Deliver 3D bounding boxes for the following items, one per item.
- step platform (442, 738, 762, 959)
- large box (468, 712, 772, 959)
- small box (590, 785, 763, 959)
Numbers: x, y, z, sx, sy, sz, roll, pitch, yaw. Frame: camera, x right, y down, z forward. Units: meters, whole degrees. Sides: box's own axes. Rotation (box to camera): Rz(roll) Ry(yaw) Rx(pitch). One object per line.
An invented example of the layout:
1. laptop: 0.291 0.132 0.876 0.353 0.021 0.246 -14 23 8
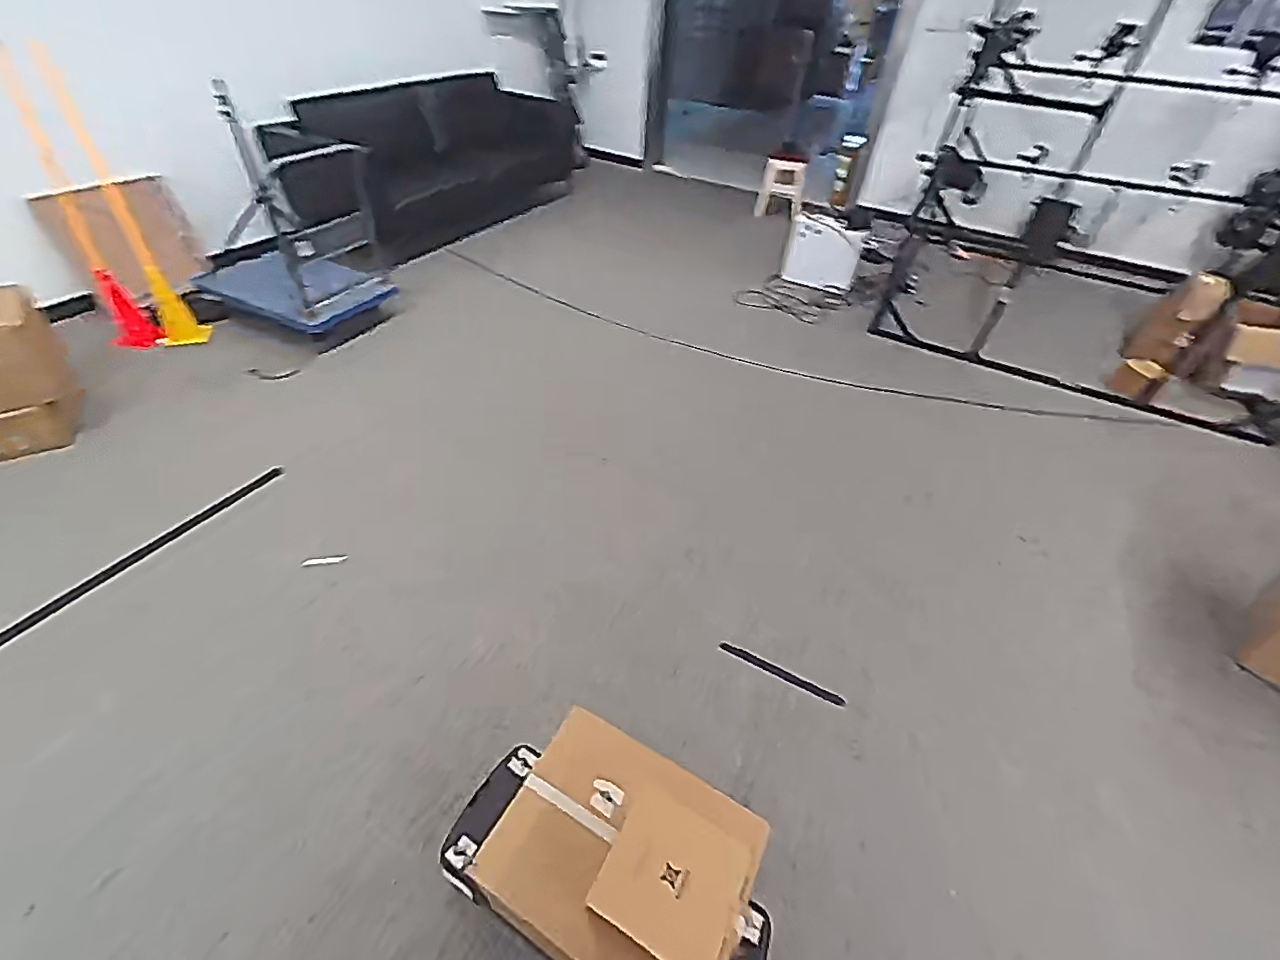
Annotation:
1. step platform: -0.096 0.870 1.138 0.684 0.204 0.286 27 47 24
2. large box: -0.026 0.706 0.970 0.408 0.320 0.320 23 45 20
3. small box: 0.047 0.575 0.757 0.179 0.176 0.168 24 47 20
